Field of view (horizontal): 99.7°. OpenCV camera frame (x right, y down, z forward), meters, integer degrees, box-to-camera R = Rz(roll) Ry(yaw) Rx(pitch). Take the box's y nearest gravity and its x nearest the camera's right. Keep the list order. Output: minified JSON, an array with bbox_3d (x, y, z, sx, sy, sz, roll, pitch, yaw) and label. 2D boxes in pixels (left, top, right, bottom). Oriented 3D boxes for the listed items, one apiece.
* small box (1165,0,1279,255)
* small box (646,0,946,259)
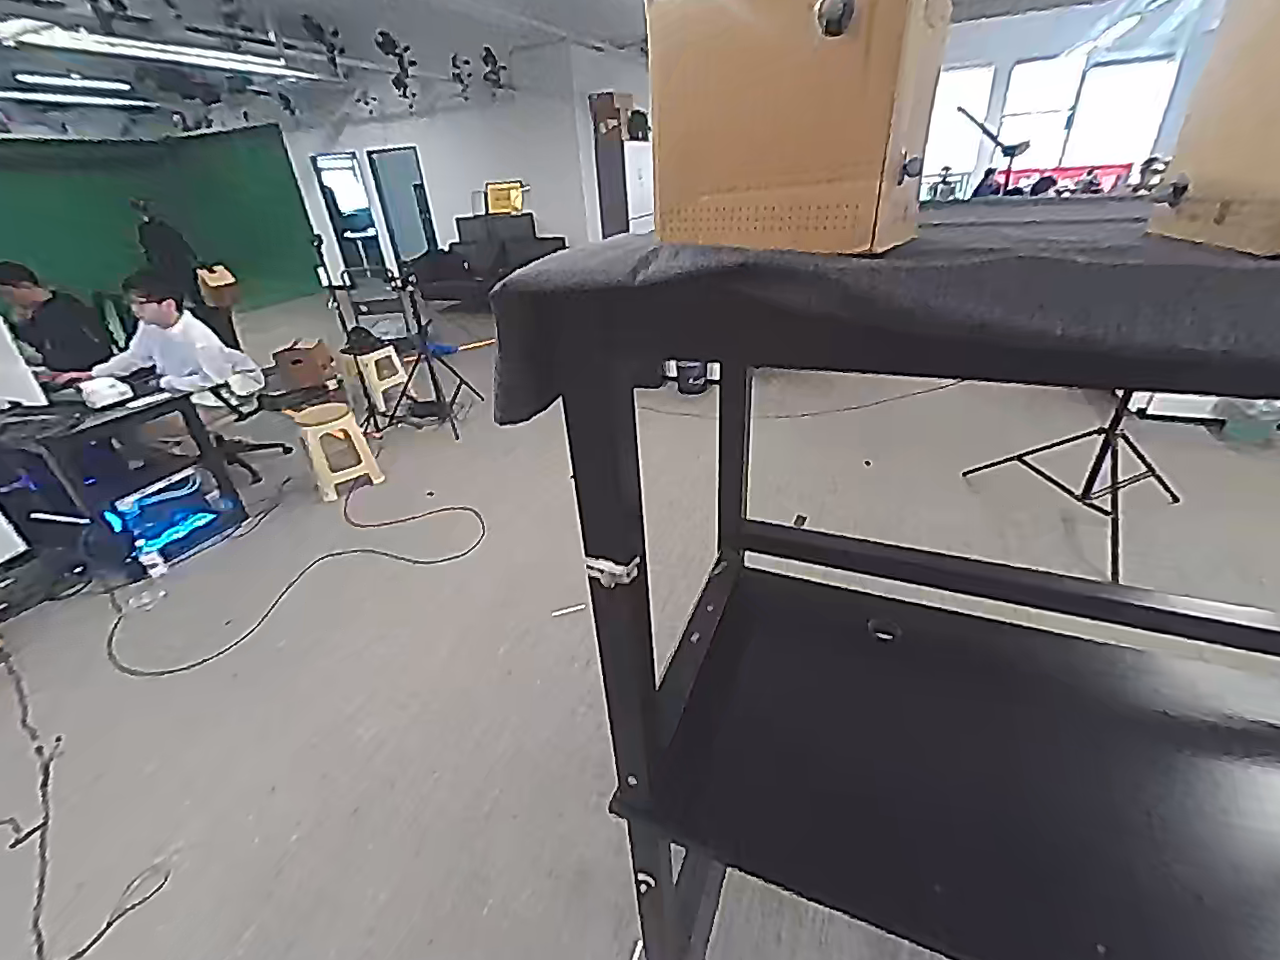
[{"bbox_3d":[0.447,-0.221,0.299,0.179,0.176,0.168,8,30,19],"label":"small box"},{"bbox_3d":[0.120,-0.271,0.429,0.179,0.176,0.168,14,32,29],"label":"small box"}]
